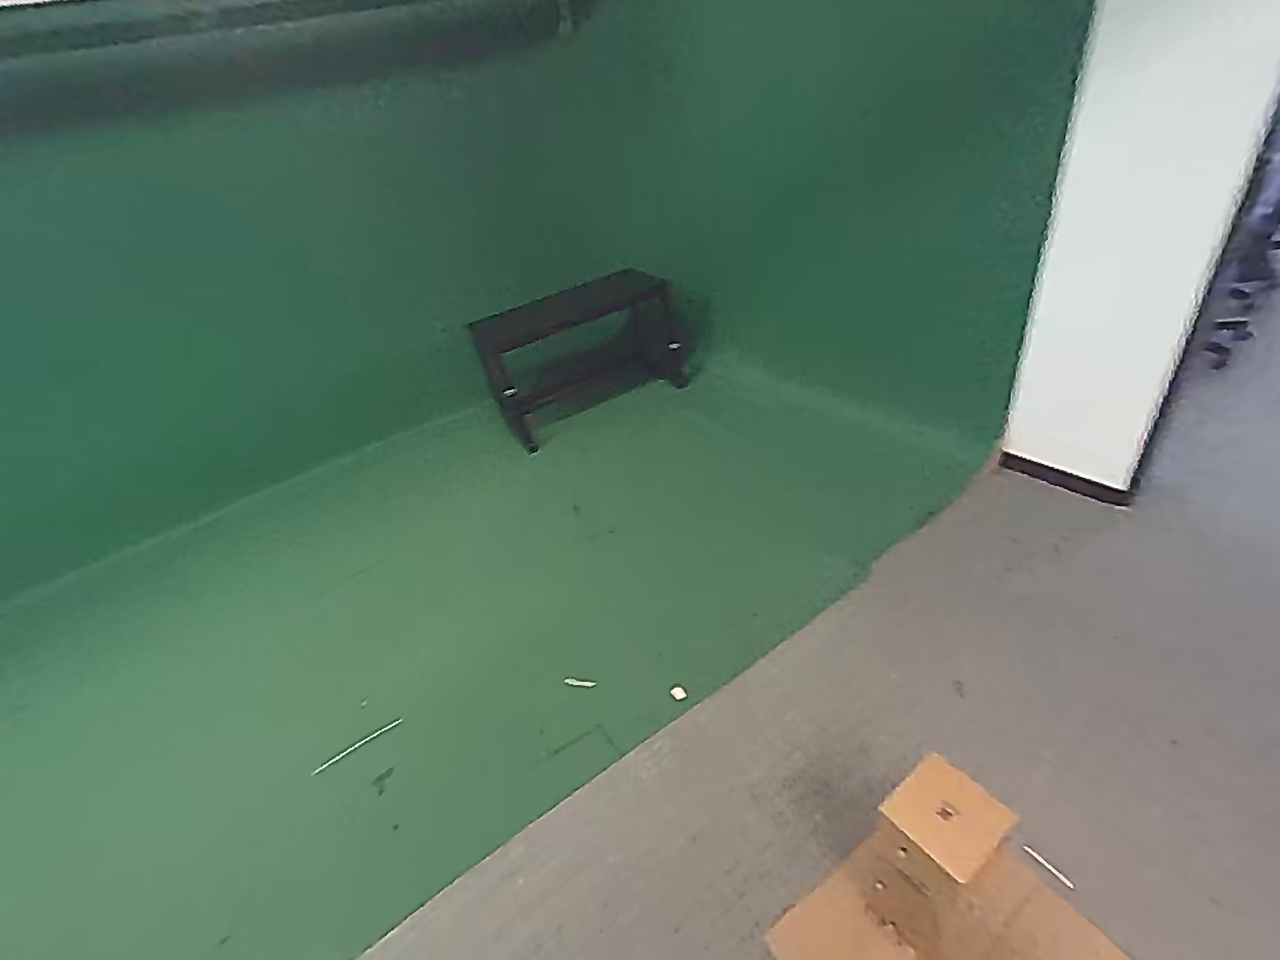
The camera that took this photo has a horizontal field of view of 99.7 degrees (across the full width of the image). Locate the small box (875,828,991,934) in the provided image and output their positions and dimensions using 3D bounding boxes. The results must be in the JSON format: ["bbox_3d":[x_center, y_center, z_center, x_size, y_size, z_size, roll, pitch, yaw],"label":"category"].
[{"bbox_3d":[0.620,0.798,1.141,0.179,0.176,0.168,-30,37,-22],"label":"small box"}]

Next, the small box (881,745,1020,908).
[{"bbox_3d":[0.591,0.669,1.045,0.179,0.176,0.168,-29,37,-22],"label":"small box"}]

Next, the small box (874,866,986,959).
[{"bbox_3d":[0.653,0.928,1.233,0.179,0.176,0.168,-33,39,-24],"label":"small box"}]
